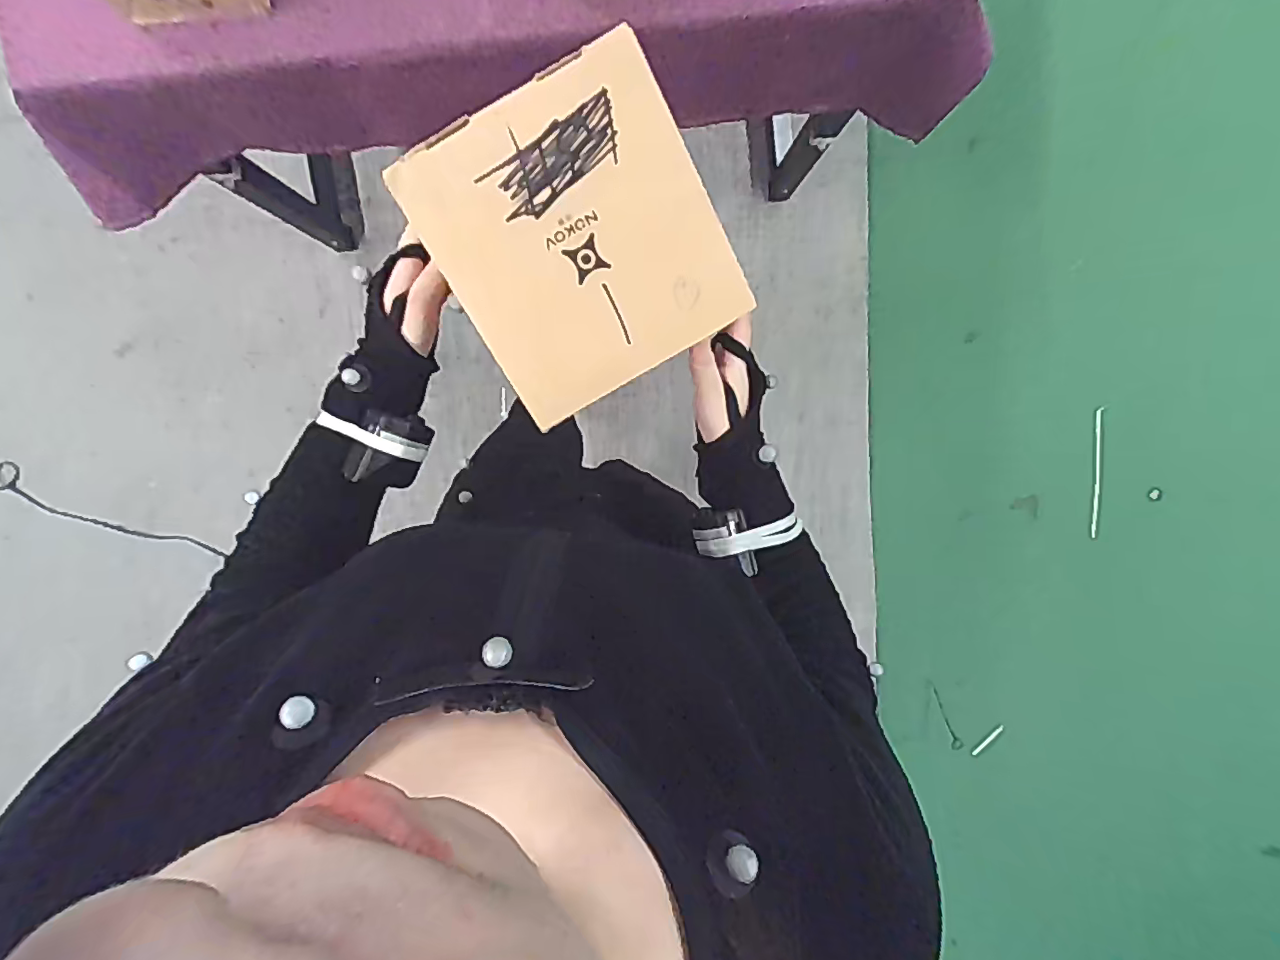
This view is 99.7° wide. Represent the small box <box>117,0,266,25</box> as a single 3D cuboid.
[{"bbox_3d":[-0.536,-0.632,0.566,0.168,0.176,0.179,-6,98,-2],"label":"small box"}]
